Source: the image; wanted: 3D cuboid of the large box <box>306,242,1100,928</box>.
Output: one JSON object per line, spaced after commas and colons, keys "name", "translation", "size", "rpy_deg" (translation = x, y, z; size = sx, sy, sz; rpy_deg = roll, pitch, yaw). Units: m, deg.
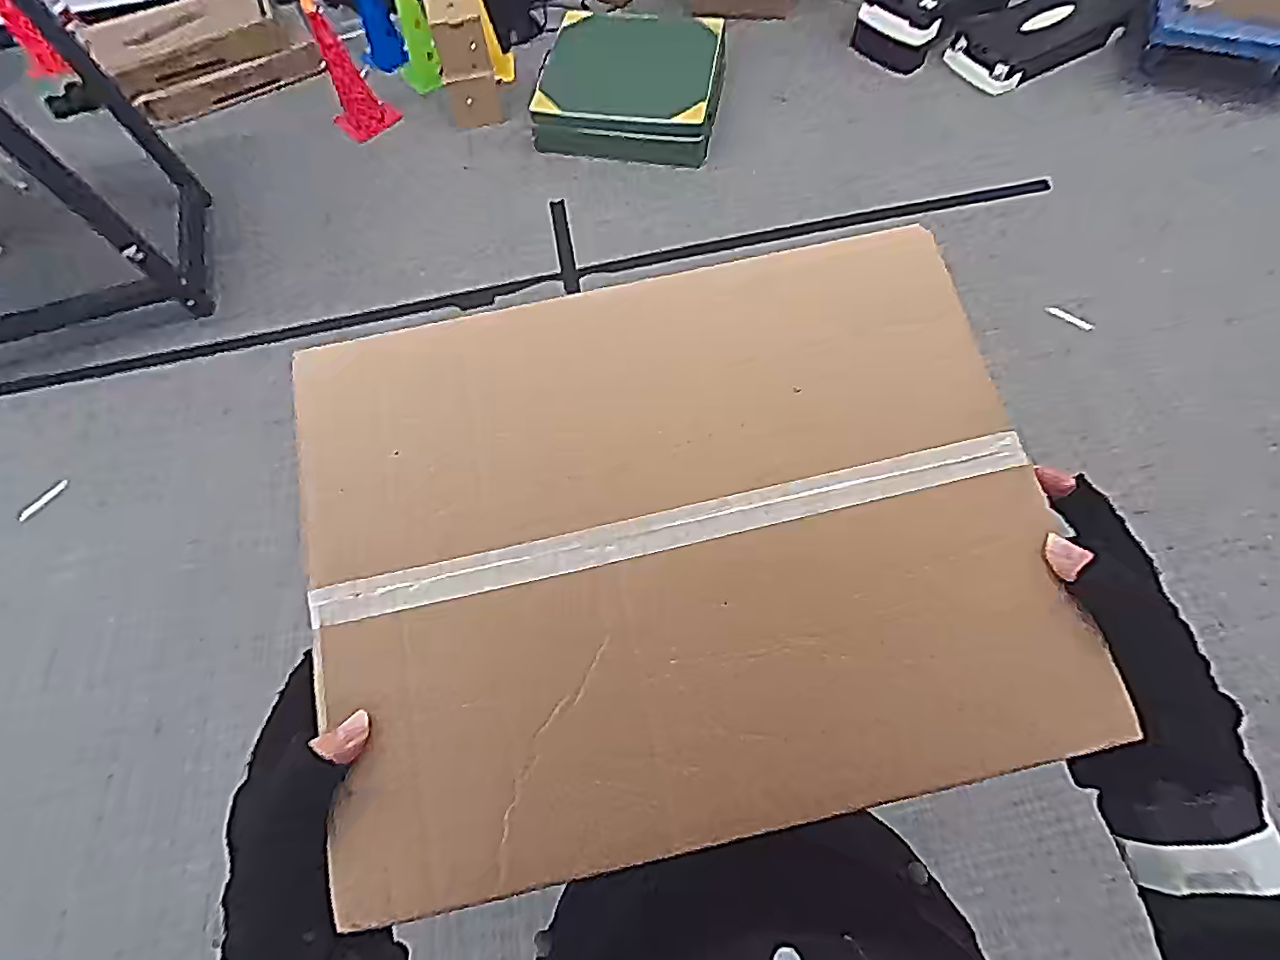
{"name": "large box", "translation": [0.021, 0.068, 0.454], "size": [0.408, 0.320, 0.320], "rpy_deg": [-13, 75, -2]}
